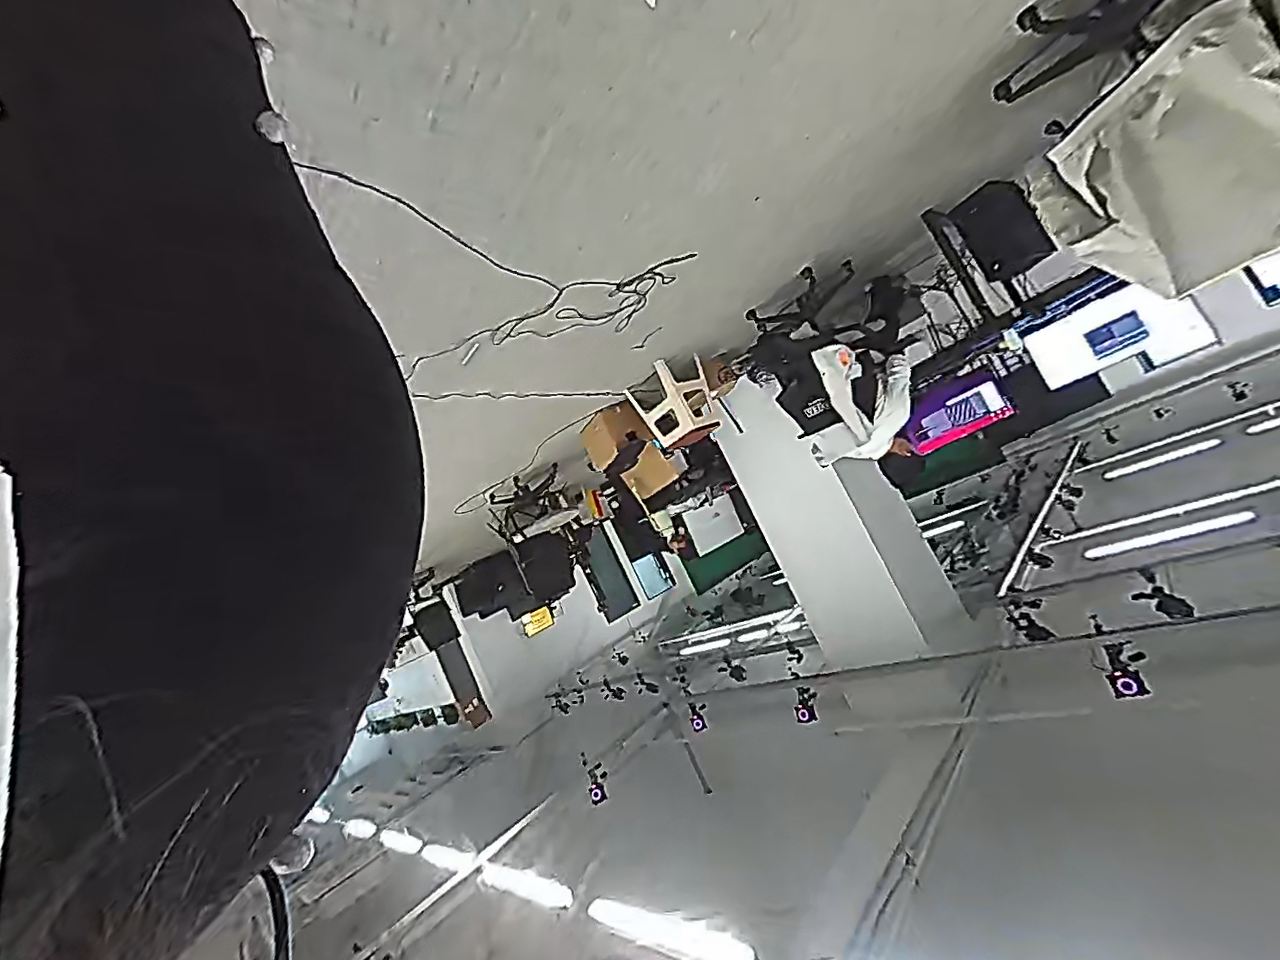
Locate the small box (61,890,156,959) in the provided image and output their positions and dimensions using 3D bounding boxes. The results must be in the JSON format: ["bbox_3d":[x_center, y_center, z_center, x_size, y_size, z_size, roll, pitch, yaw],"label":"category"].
[{"bbox_3d":[-1.649,1.429,1.684,0.168,0.176,0.179,-20,173,-39],"label":"small box"}]
